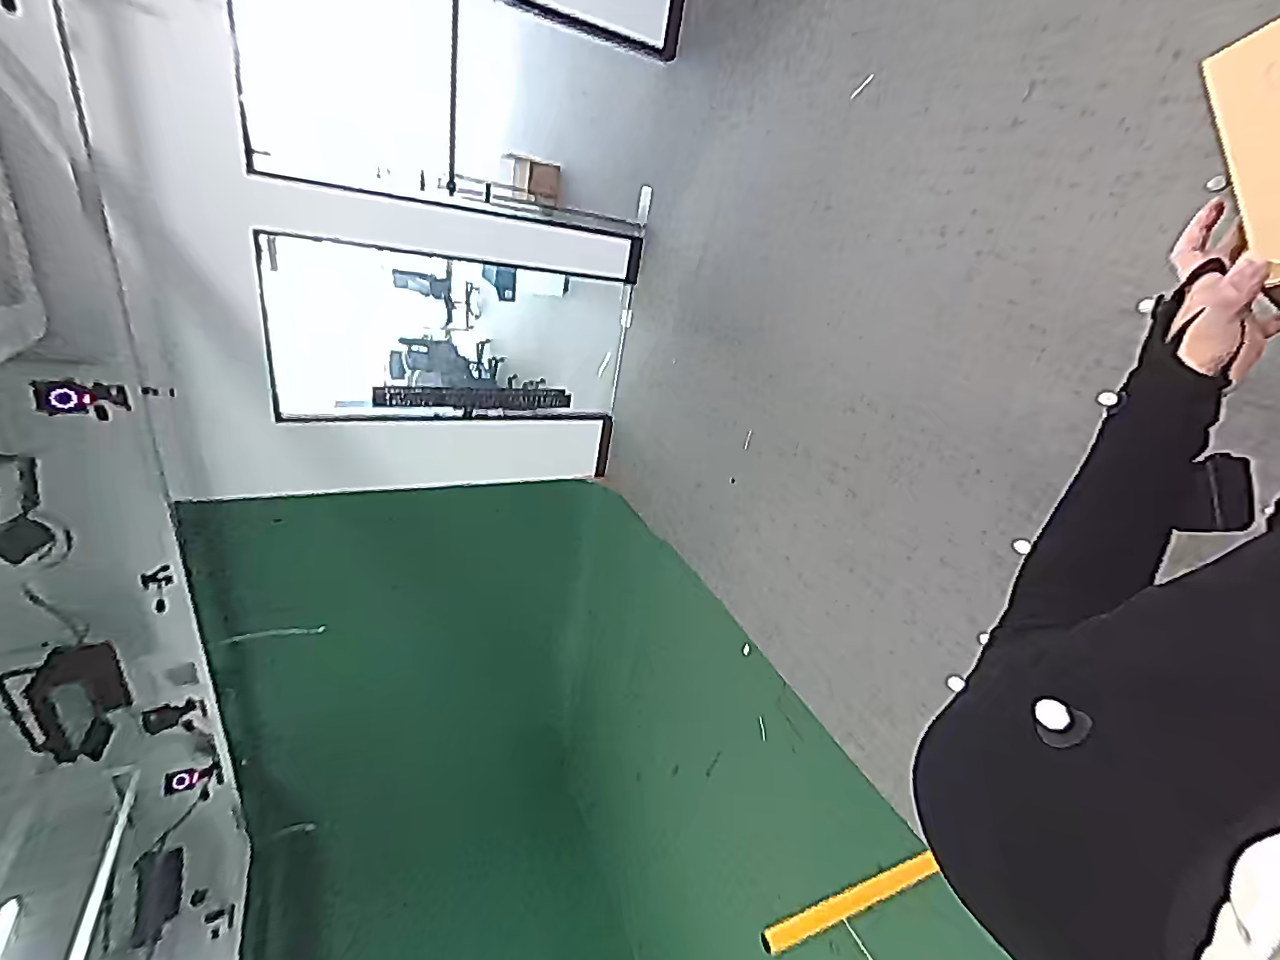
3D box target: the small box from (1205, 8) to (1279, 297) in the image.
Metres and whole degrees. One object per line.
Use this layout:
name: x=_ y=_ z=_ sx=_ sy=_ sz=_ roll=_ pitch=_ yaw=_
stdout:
small box: x=0.530 y=-0.241 z=0.370 sx=0.168 sy=0.176 sz=0.179 roll=-13 pitch=81 yaw=54
